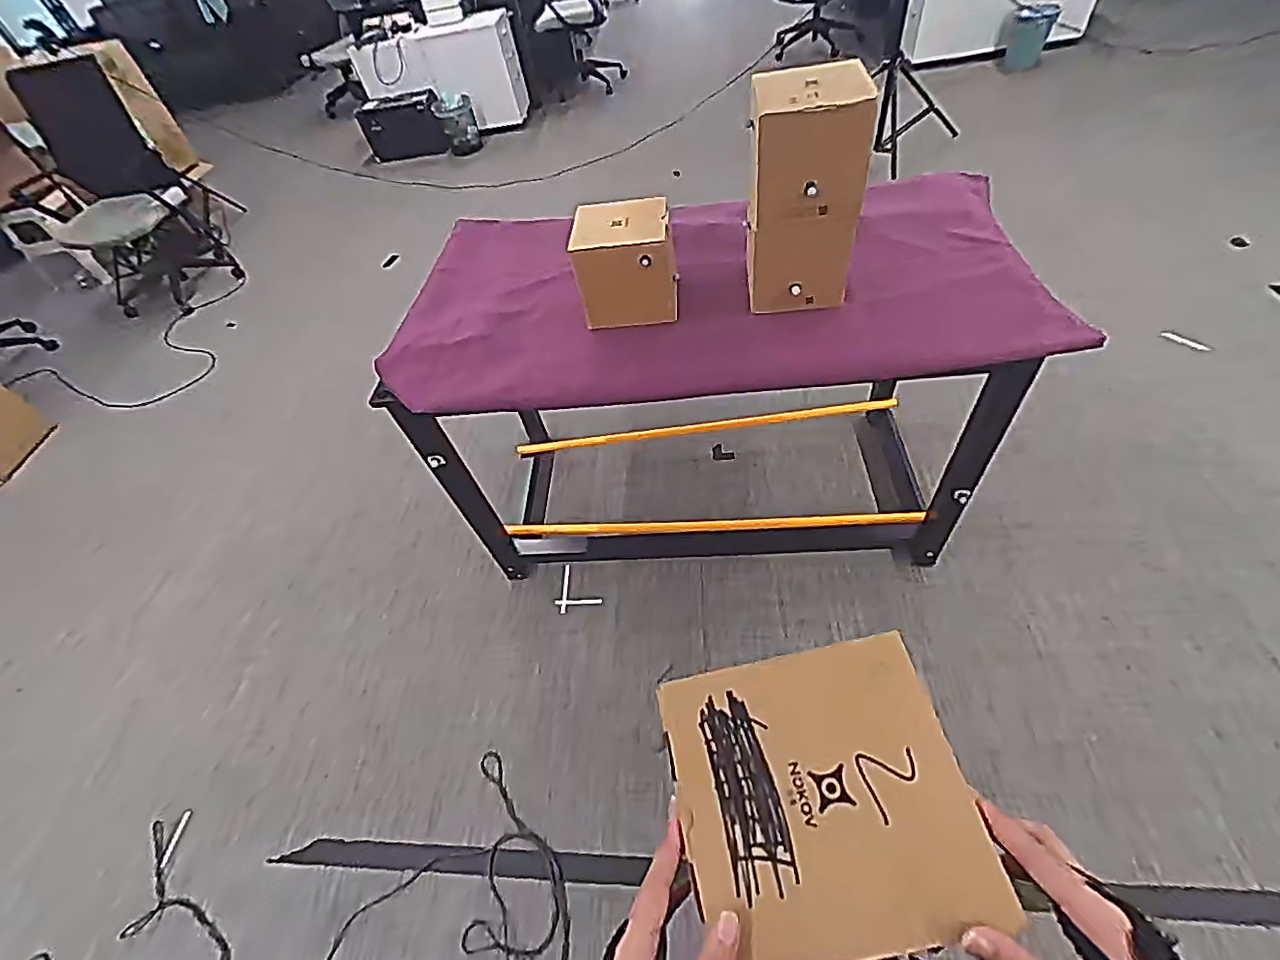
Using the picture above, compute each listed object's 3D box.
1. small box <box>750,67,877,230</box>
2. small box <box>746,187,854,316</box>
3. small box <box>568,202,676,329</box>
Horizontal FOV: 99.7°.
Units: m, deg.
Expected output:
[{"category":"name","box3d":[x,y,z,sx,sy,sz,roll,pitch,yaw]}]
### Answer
[{"category":"small box","box3d":[0.266,-0.530,0.873,0.168,0.176,0.179,-2,52,10]},{"category":"small box","box3d":[0.285,-0.428,1.001,0.168,0.176,0.179,-2,52,9]},{"category":"small box","box3d":[-0.026,-0.408,1.044,0.179,0.176,0.168,-3,51,7]}]
